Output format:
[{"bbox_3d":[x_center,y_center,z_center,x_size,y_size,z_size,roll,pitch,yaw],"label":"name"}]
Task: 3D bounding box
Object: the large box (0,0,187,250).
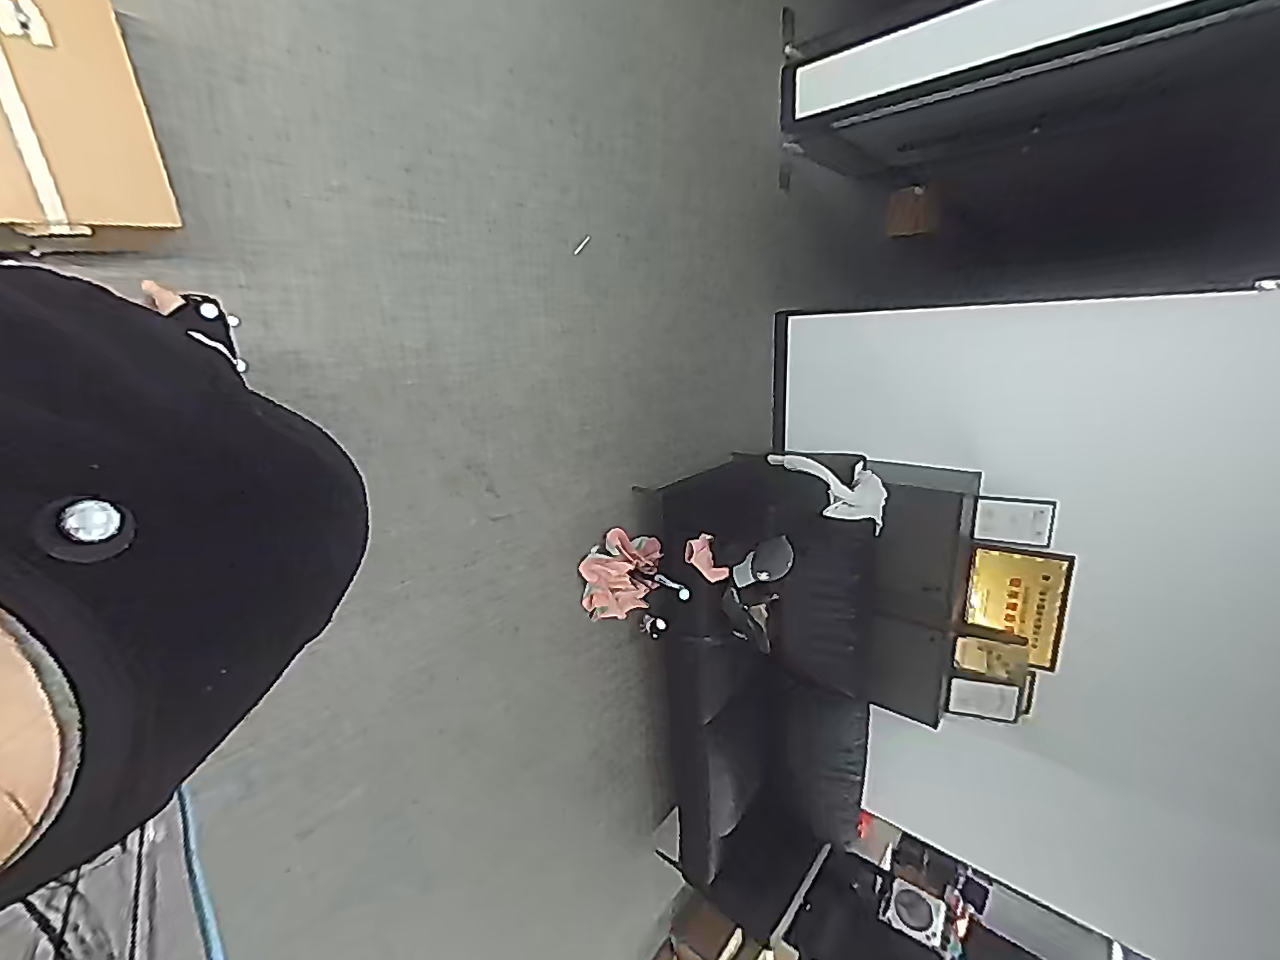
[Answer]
[{"bbox_3d":[-1.009,-0.601,0.861,0.320,0.320,0.408,-25,115,-44],"label":"large box"}]
